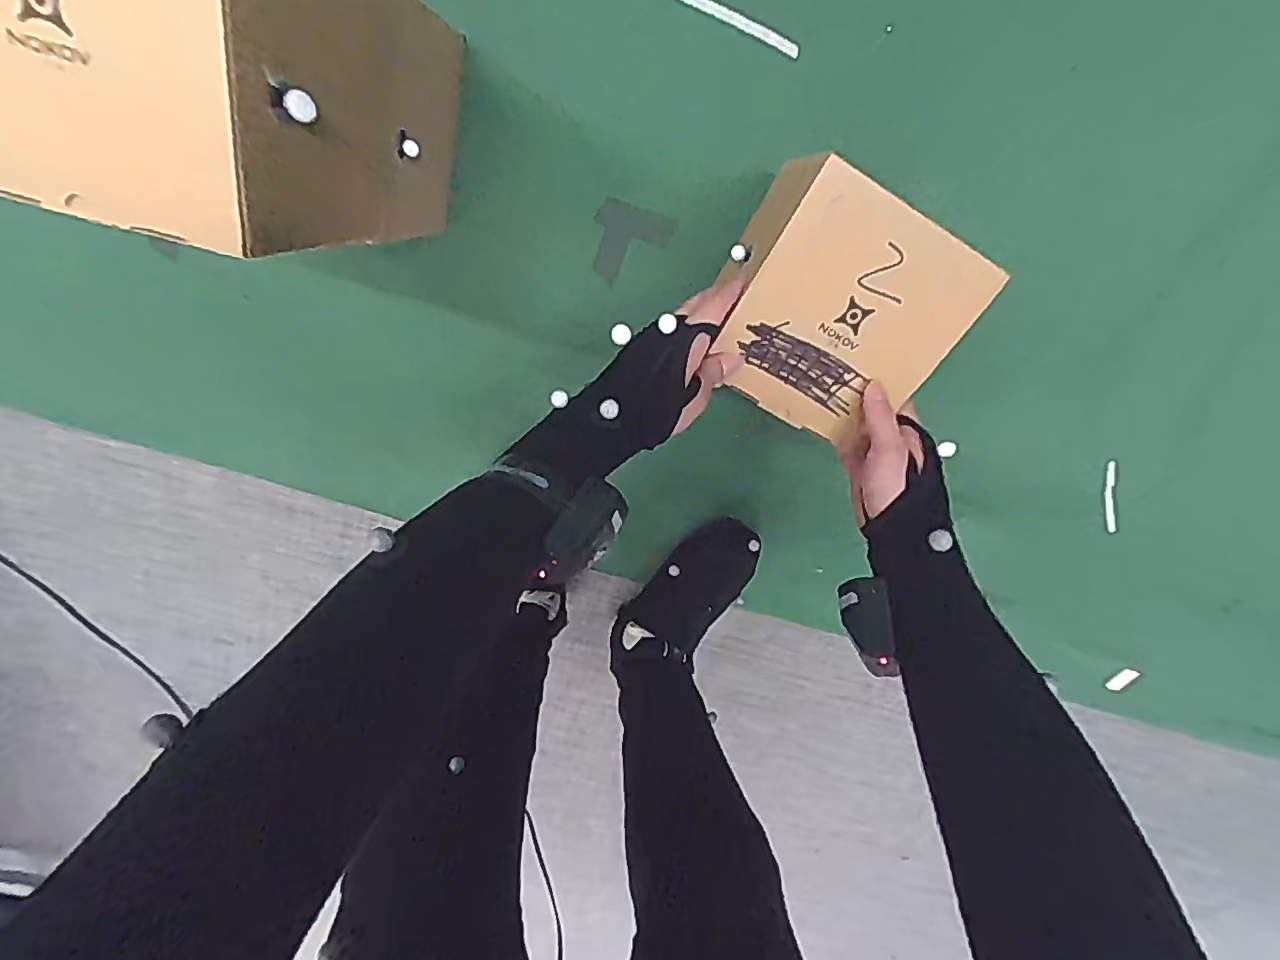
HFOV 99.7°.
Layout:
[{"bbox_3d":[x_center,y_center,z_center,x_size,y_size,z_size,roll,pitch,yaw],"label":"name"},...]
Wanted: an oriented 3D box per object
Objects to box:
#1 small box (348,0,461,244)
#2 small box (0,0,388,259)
[{"bbox_3d":[-0.266,-0.324,0.462,0.168,0.176,0.179,15,117,-7],"label":"small box"},{"bbox_3d":[-0.265,-0.251,0.317,0.168,0.176,0.179,14,119,-6],"label":"small box"}]
